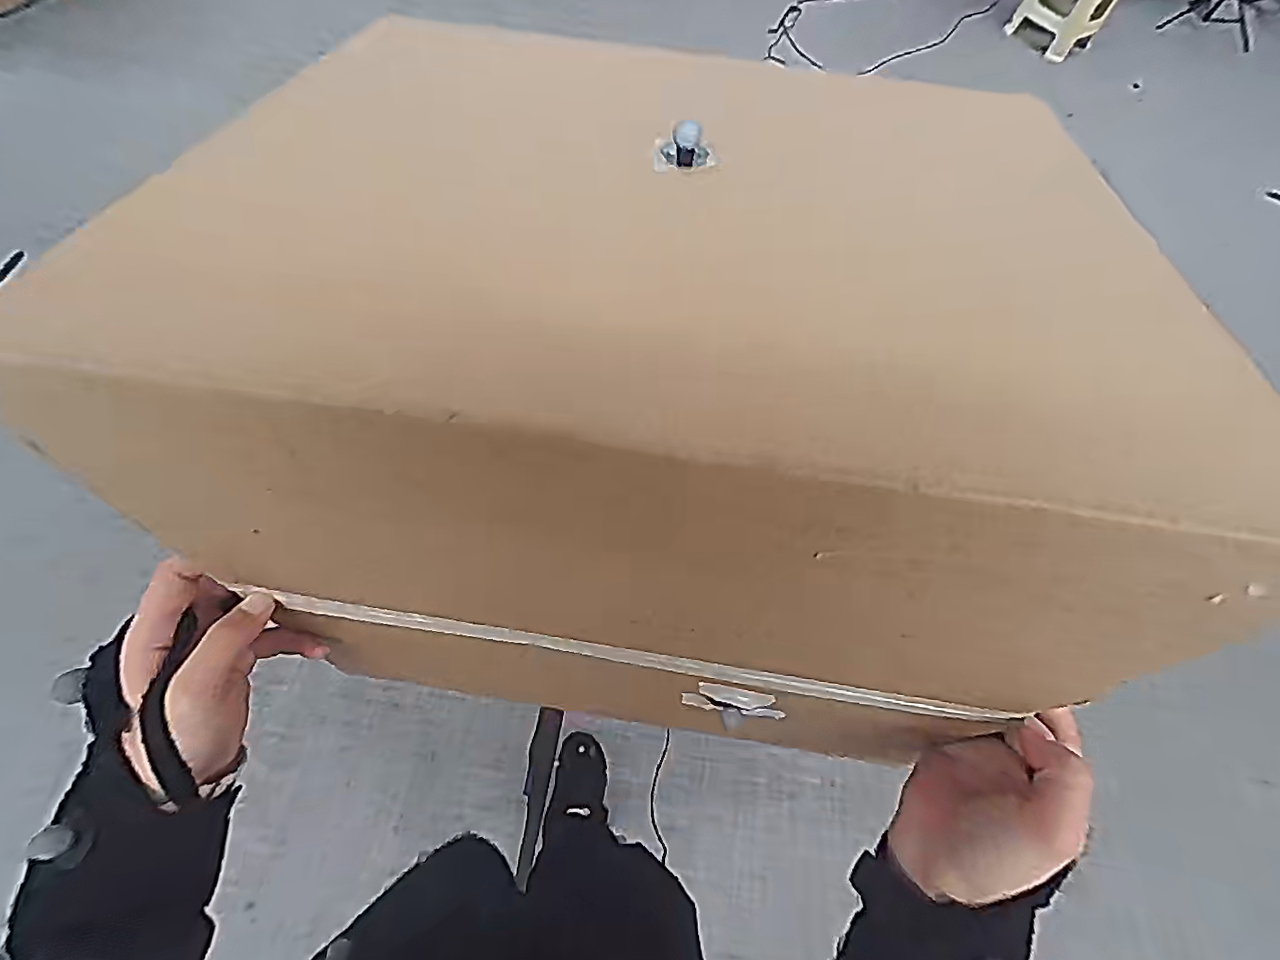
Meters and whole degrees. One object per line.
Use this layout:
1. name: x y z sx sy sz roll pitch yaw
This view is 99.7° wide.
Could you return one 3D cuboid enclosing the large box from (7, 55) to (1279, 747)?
1. large box: 0.006 -0.041 0.366 0.408 0.320 0.320 8 56 2
